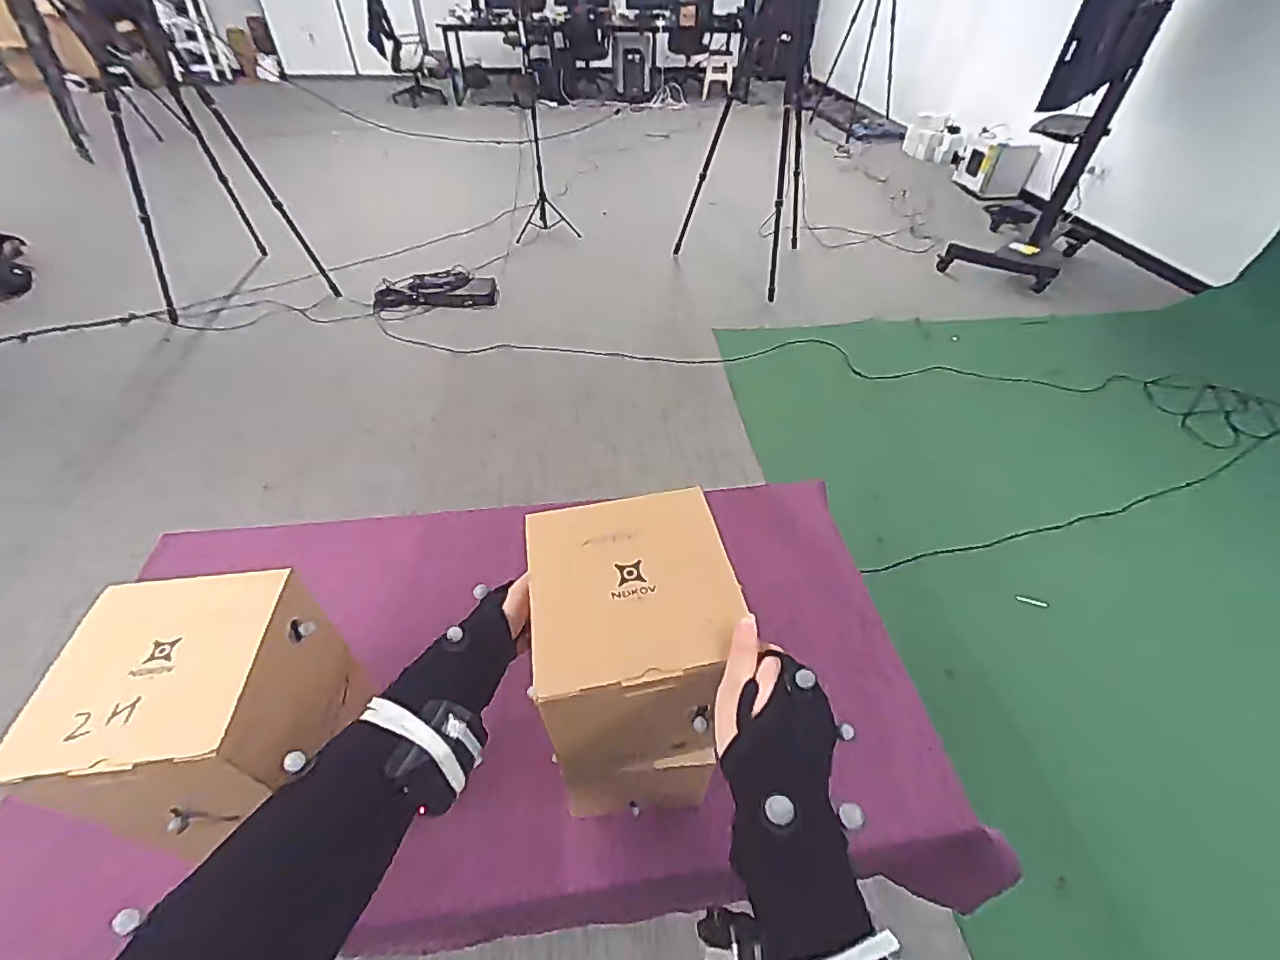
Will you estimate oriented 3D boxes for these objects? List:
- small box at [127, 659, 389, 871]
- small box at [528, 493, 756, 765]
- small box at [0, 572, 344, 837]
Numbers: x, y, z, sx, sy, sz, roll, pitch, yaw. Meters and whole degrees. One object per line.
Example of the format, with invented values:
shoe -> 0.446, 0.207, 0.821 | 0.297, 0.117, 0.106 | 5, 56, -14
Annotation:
small box -> -0.413, 0.332, 0.631 | 0.179, 0.176, 0.168 | -5, 45, -8
small box -> -0.005, 0.141, 0.498 | 0.168, 0.176, 0.179 | -8, 45, -7
small box -> -0.410, 0.212, 0.517 | 0.168, 0.176, 0.179 | -5, 46, -6
